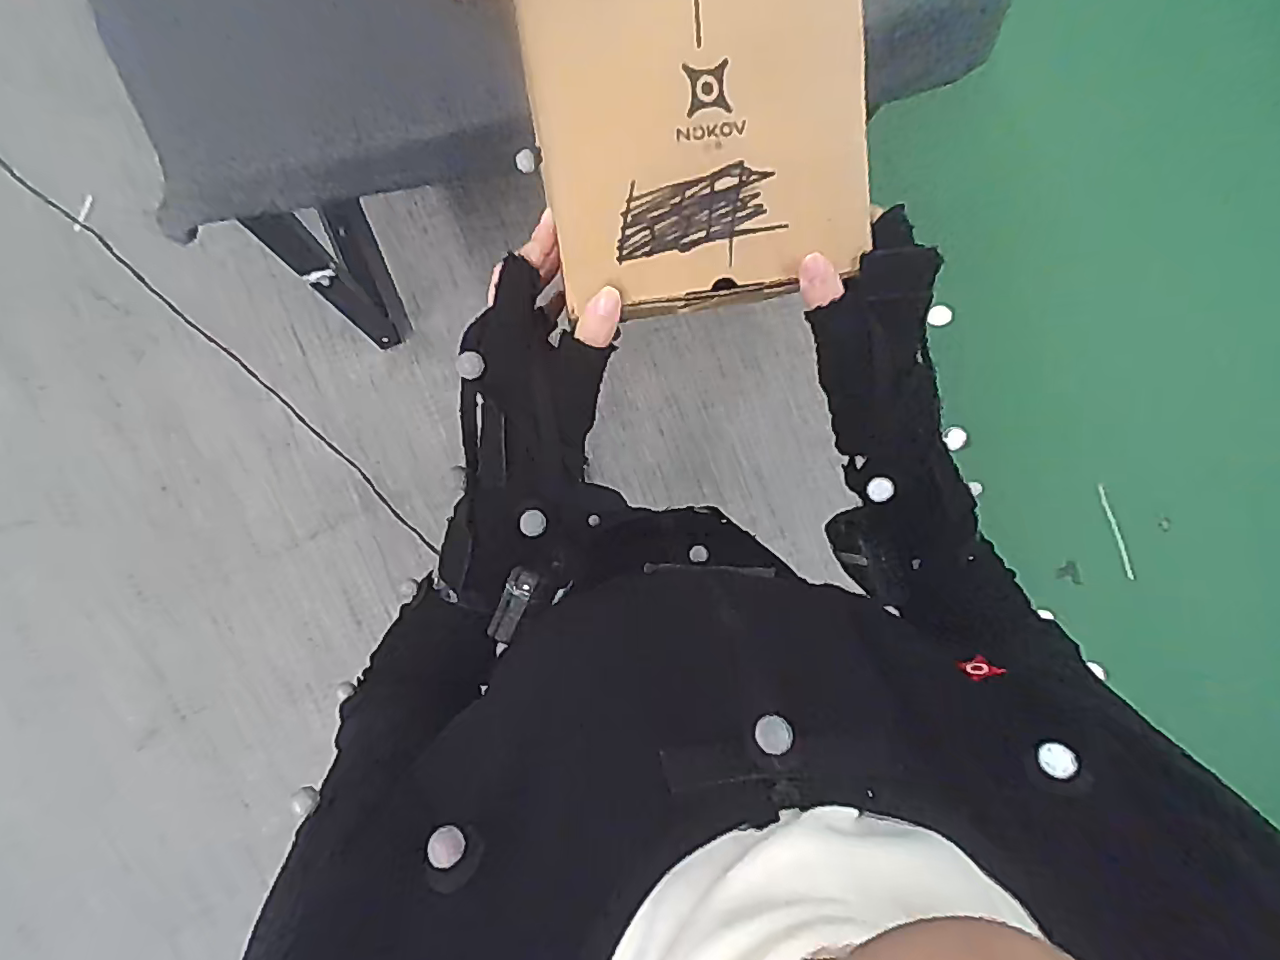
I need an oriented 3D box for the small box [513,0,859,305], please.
[{"bbox_3d":[0.018,-0.211,0.342,0.168,0.176,0.179,-10,103,-5],"label":"small box"}]
